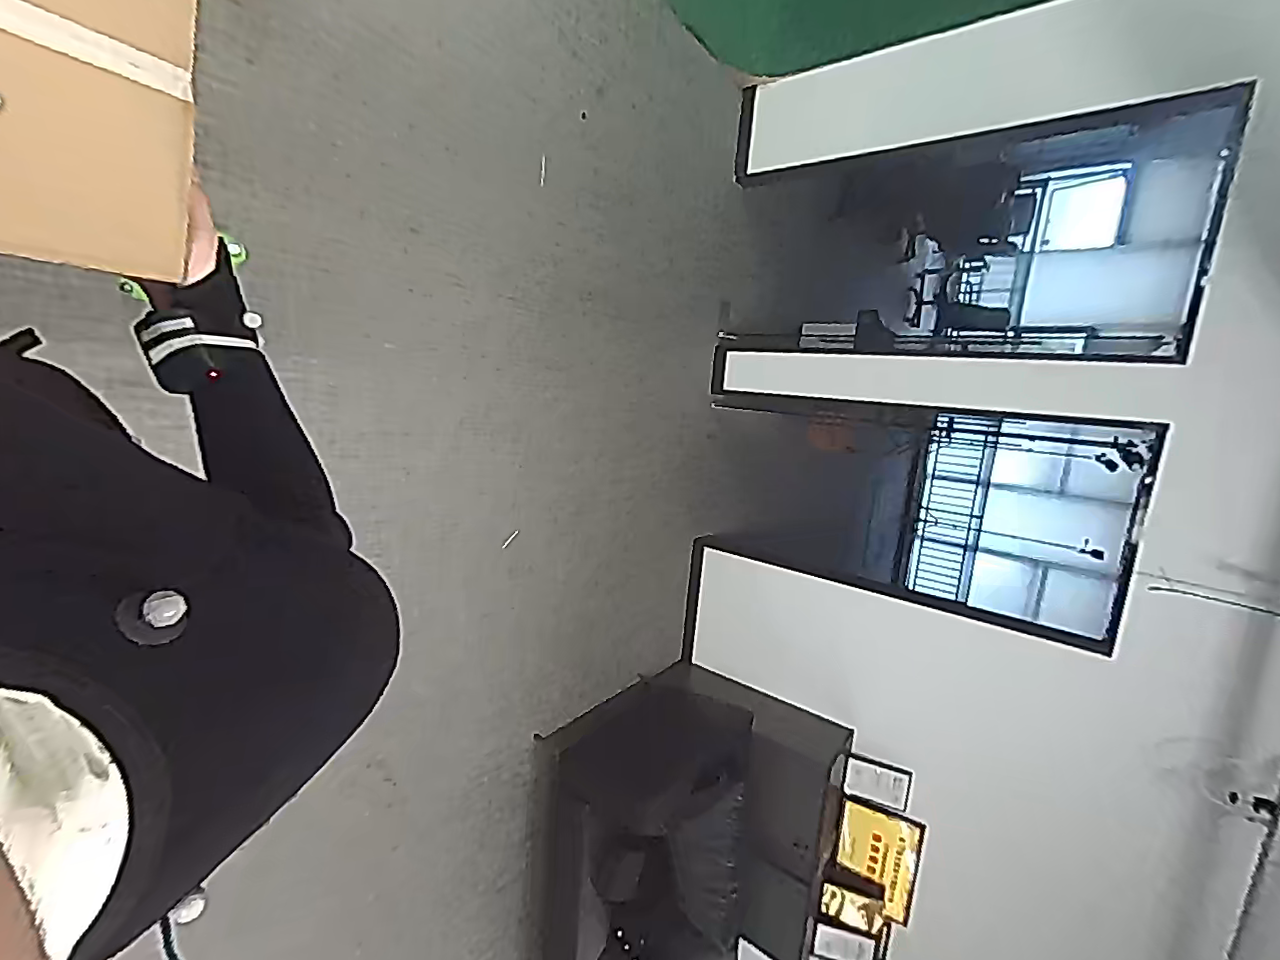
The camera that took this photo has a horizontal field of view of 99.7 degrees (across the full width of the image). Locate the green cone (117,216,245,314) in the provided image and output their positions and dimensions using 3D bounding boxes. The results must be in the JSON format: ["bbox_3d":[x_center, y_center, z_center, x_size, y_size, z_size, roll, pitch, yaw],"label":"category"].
[{"bbox_3d":[-0.921,-0.478,1.142,0.200,0.368,0.202,3,96,-55],"label":"green cone"}]

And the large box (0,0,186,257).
[{"bbox_3d":[-0.592,-0.370,0.333,0.408,0.320,0.320,-12,127,-58],"label":"large box"}]
